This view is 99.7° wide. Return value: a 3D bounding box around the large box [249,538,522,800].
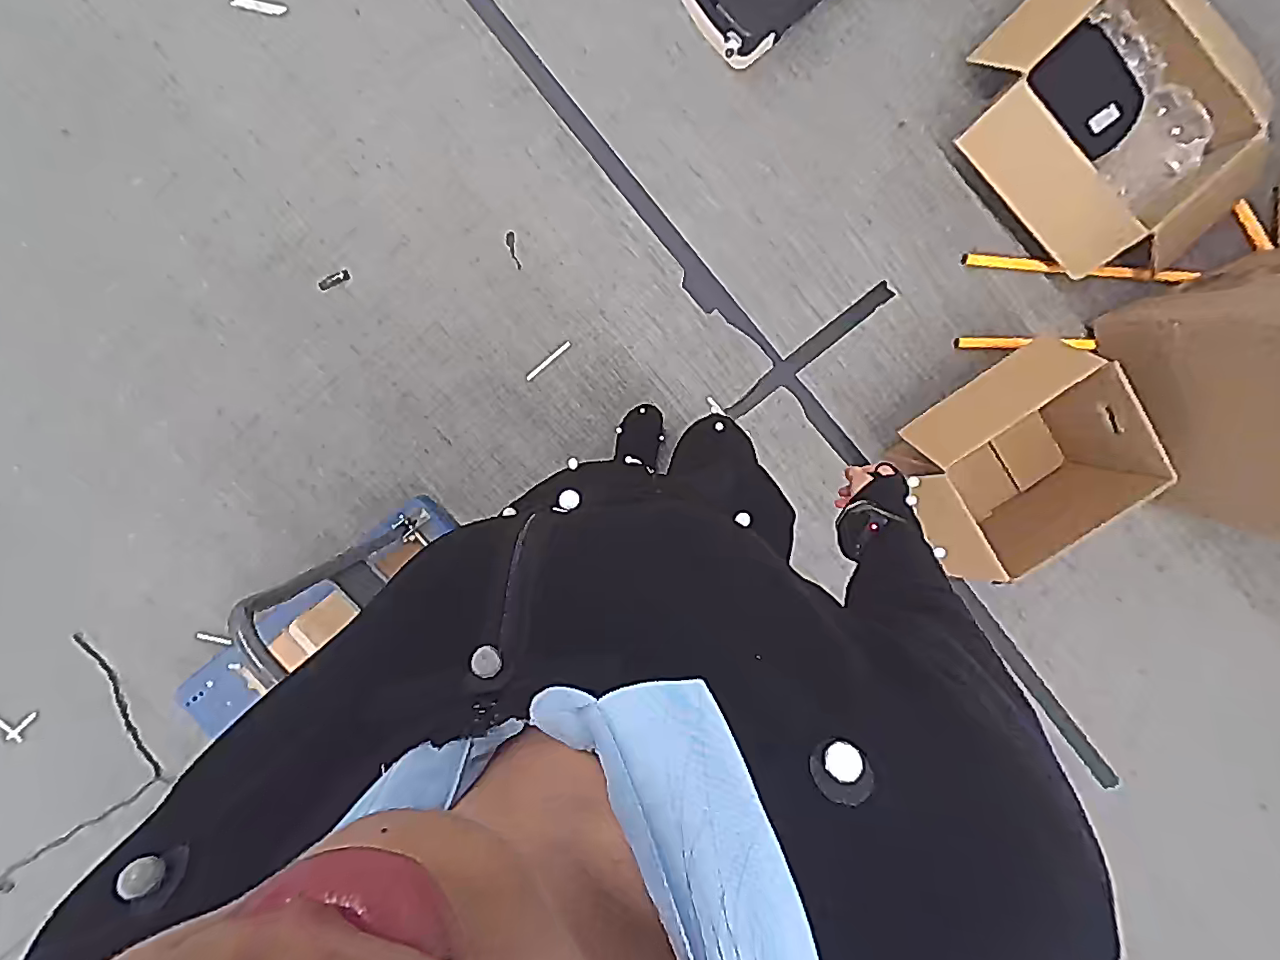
[{"bbox_3d":[-0.543,0.407,1.238,0.320,0.320,0.408,-38,96,6],"label":"large box"}]
